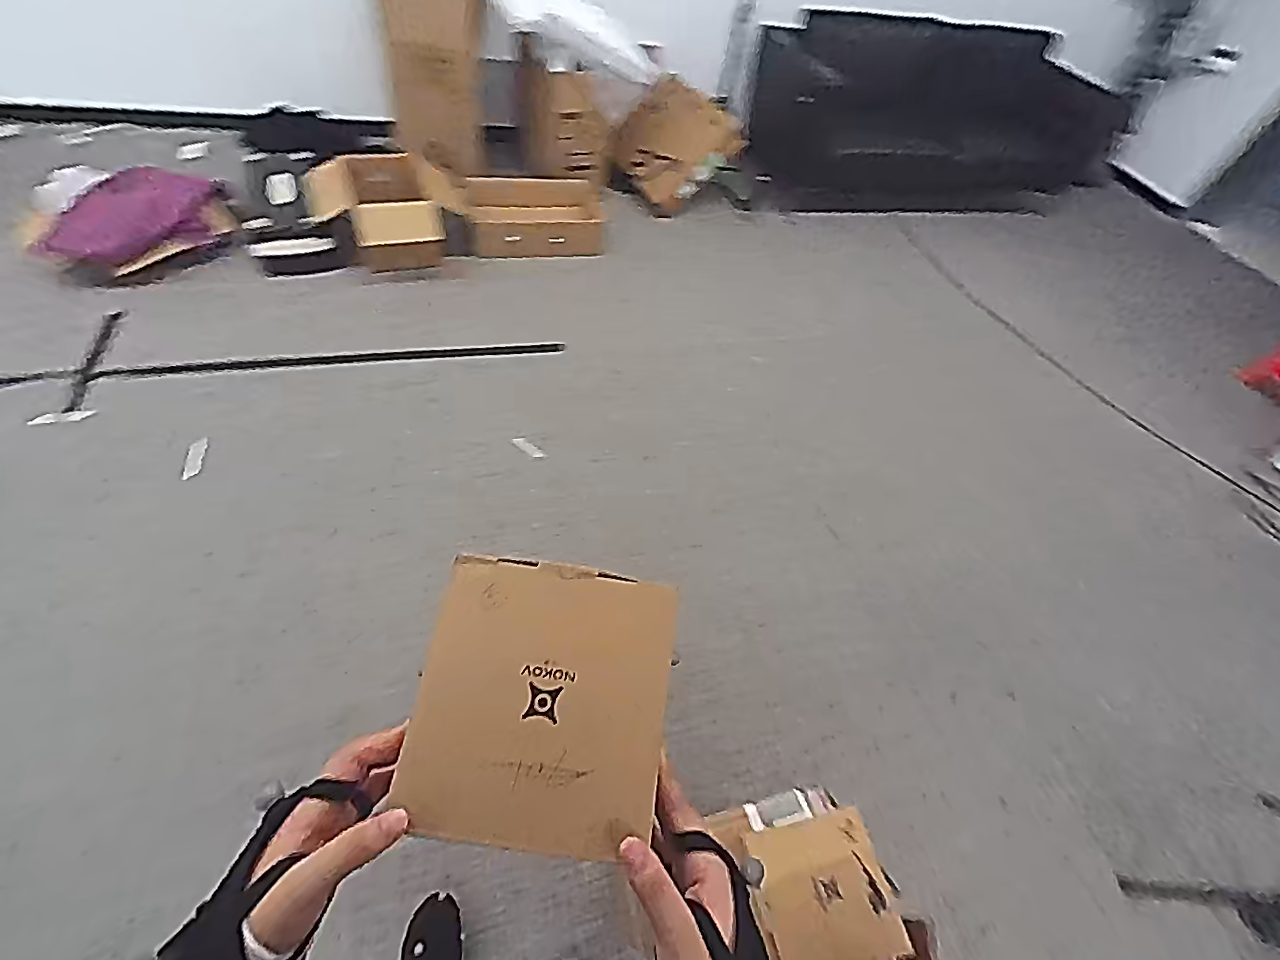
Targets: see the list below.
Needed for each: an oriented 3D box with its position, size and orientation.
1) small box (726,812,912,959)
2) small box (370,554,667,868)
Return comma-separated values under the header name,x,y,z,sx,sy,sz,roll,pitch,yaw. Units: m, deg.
name,x,y,z,sx,sy,sz,roll,pitch,yaw
small box,0.231,0.589,0.758,0.179,0.176,0.168,-6,53,-12
small box,-0.079,0.175,0.432,0.168,0.176,0.179,9,67,-1
